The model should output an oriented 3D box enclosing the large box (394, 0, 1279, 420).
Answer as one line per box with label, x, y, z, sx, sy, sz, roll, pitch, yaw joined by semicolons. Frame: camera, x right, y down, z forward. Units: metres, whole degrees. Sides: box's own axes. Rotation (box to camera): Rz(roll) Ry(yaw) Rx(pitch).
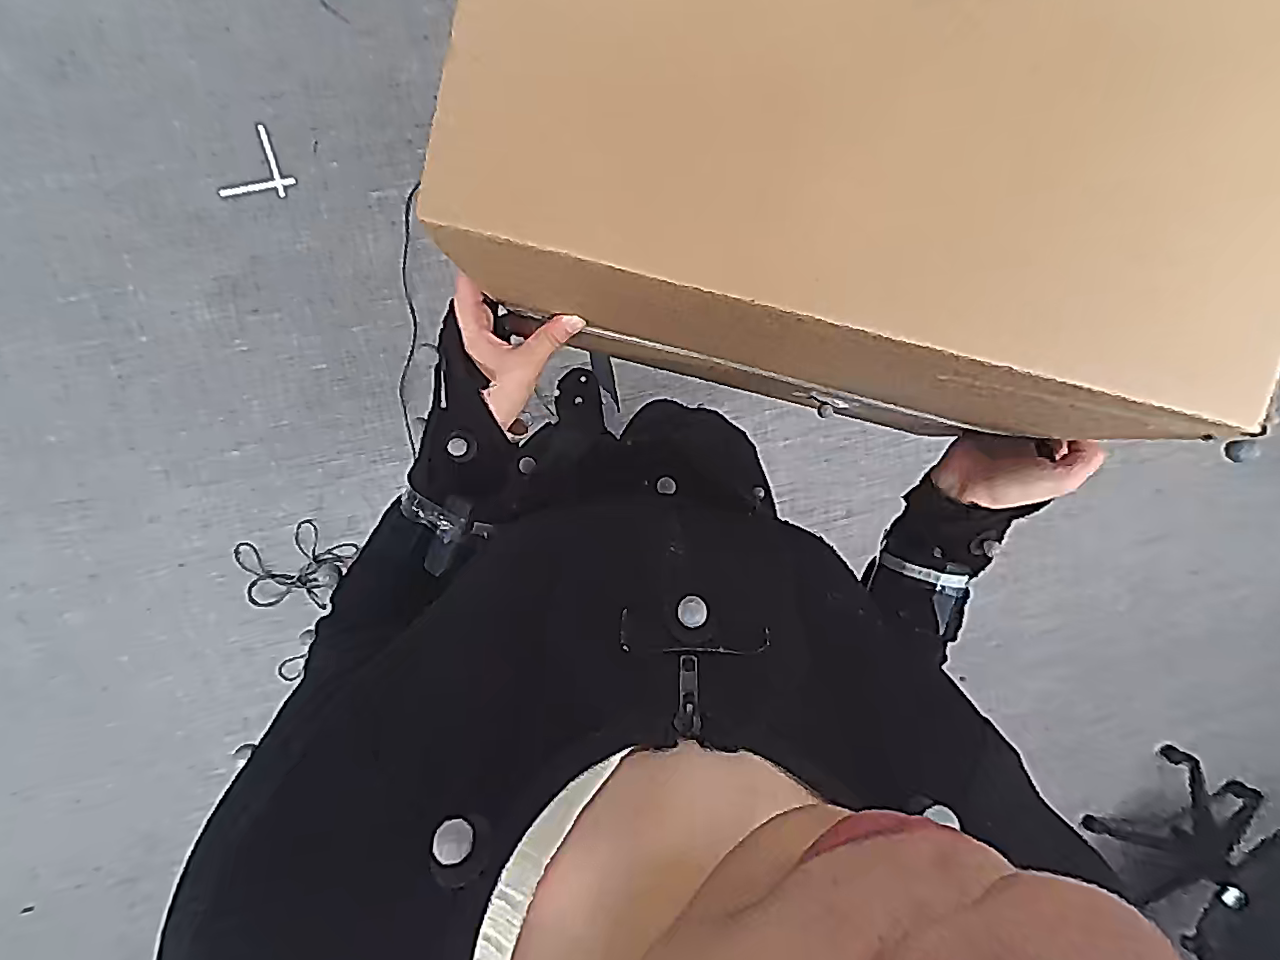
large box;0.112;-0.237;0.376;0.408;0.320;0.320;12;97;-1
